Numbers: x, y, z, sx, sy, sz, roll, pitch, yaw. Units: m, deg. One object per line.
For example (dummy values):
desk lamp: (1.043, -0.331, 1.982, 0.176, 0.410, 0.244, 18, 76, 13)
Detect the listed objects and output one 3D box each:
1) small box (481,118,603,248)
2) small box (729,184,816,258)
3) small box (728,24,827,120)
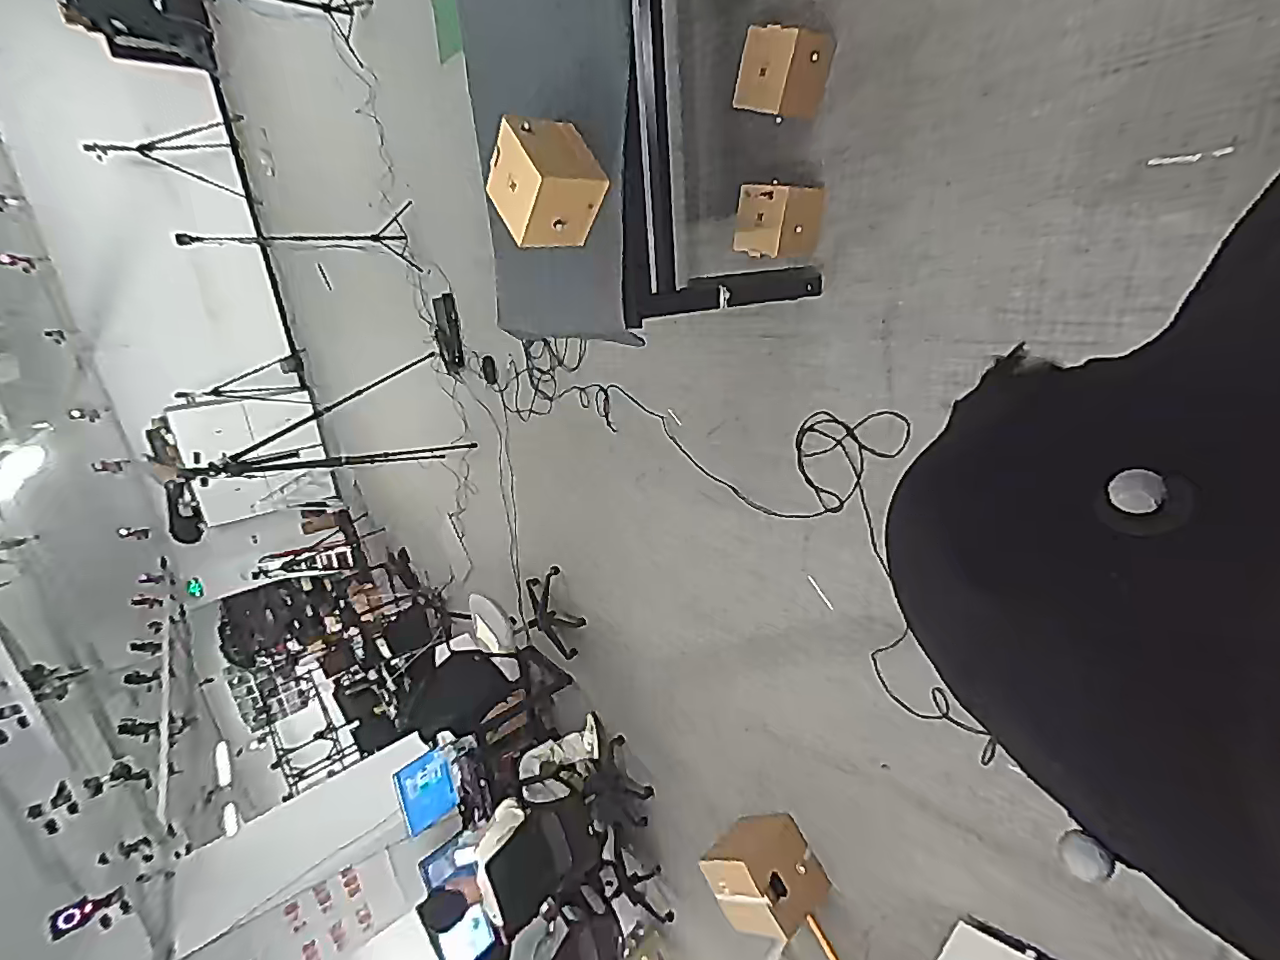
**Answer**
small box: (-0.203, -0.613, 1.127, 0.179, 0.176, 0.168, 59, 142, 14)
small box: (0.381, -0.745, 1.548, 0.168, 0.176, 0.179, 31, 130, 40)
small box: (0.363, -1.067, 1.420, 0.168, 0.176, 0.179, 40, 135, 35)
